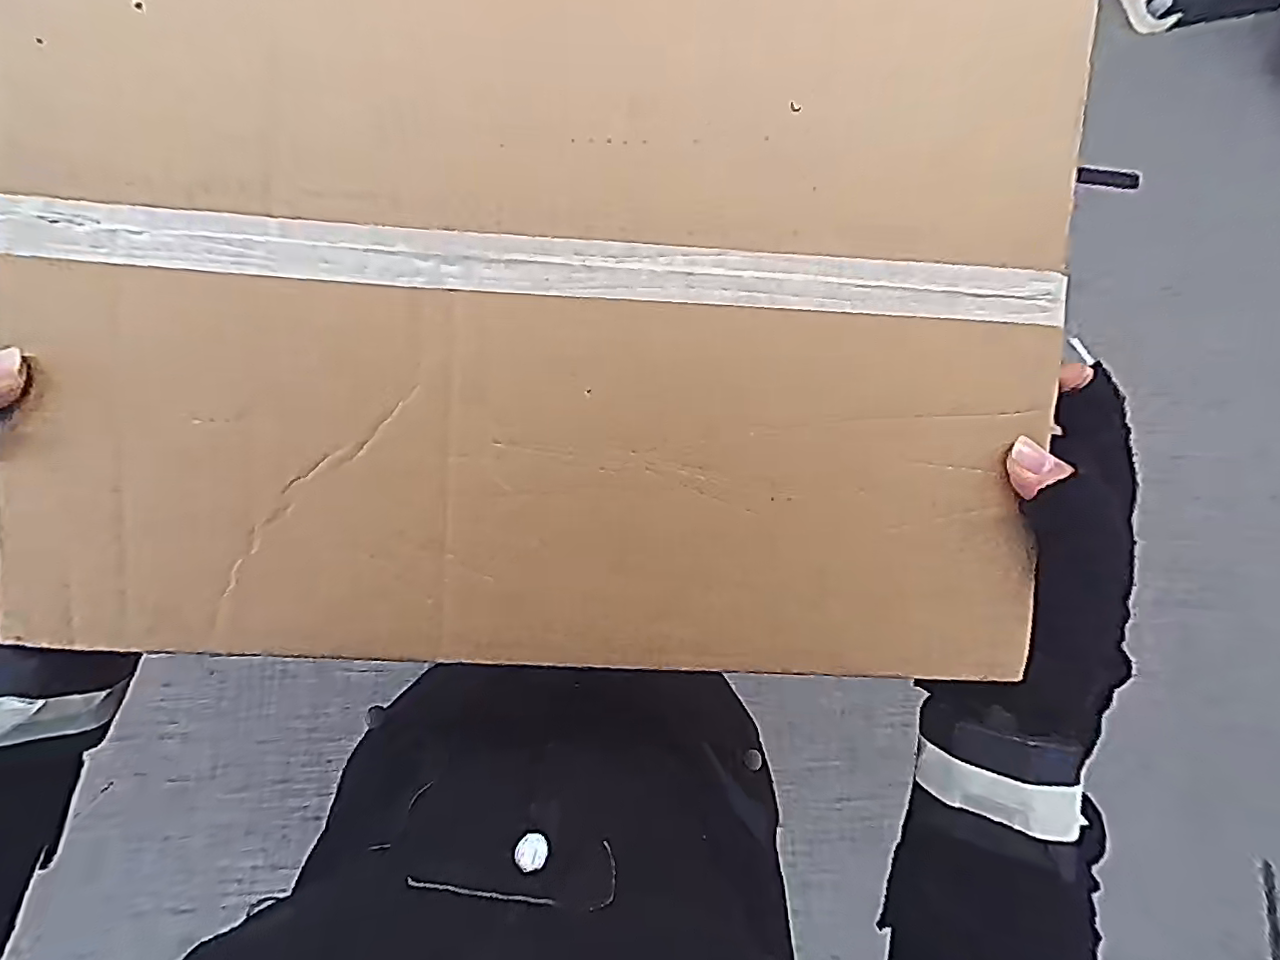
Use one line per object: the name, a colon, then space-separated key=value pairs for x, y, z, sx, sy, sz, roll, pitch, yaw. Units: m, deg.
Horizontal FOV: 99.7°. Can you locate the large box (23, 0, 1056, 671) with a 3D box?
large box: x=-0.041 y=-0.087 z=0.368 sx=0.408 sy=0.320 sz=0.320 roll=3 pitch=93 yaw=-3
